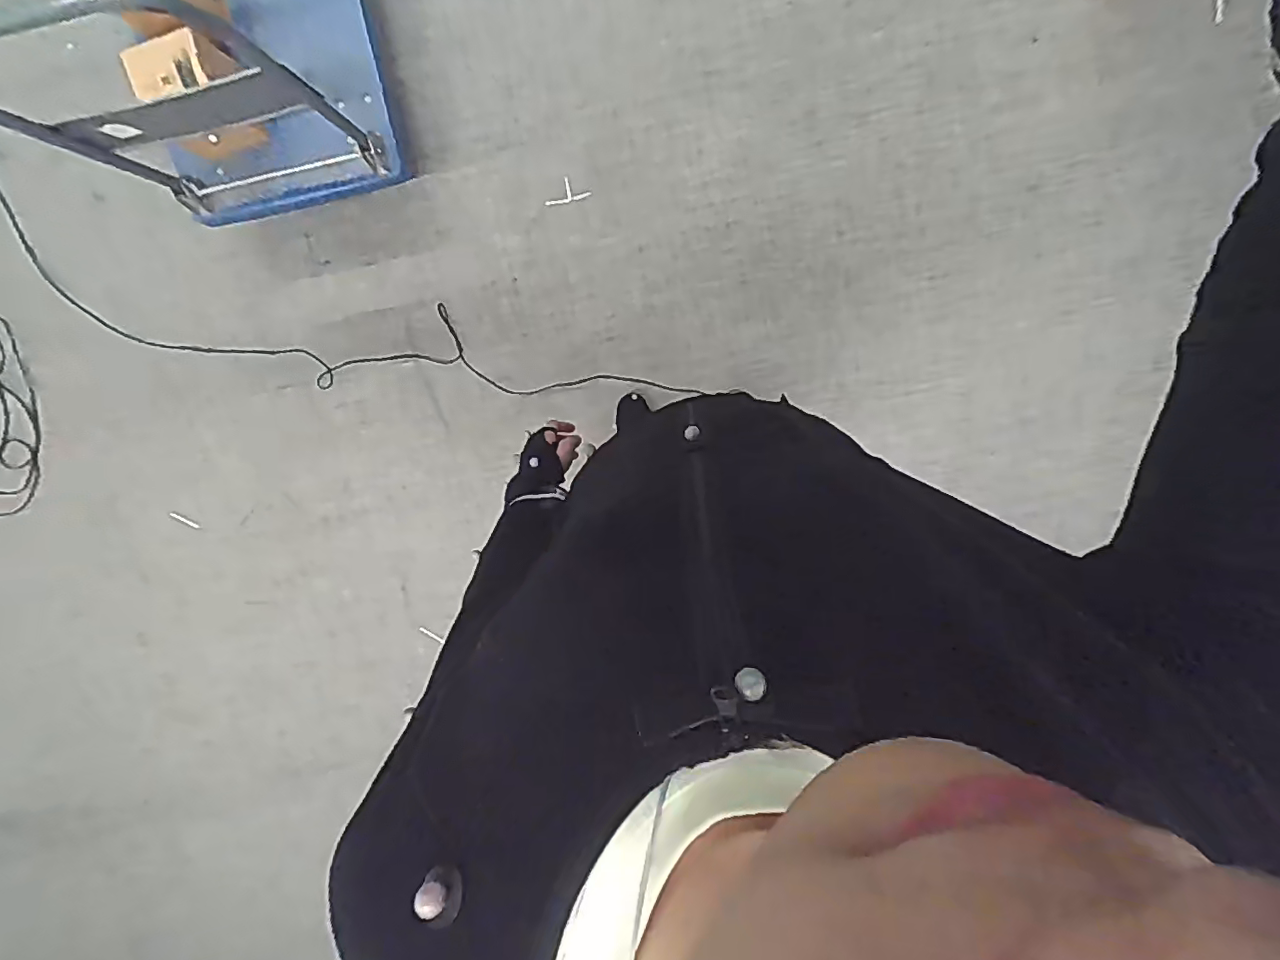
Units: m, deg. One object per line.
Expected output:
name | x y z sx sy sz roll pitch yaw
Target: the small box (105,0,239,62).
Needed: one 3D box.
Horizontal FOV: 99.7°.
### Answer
small box | -1.081 -1.106 1.241 0.179 0.176 0.168 -11 98 2
